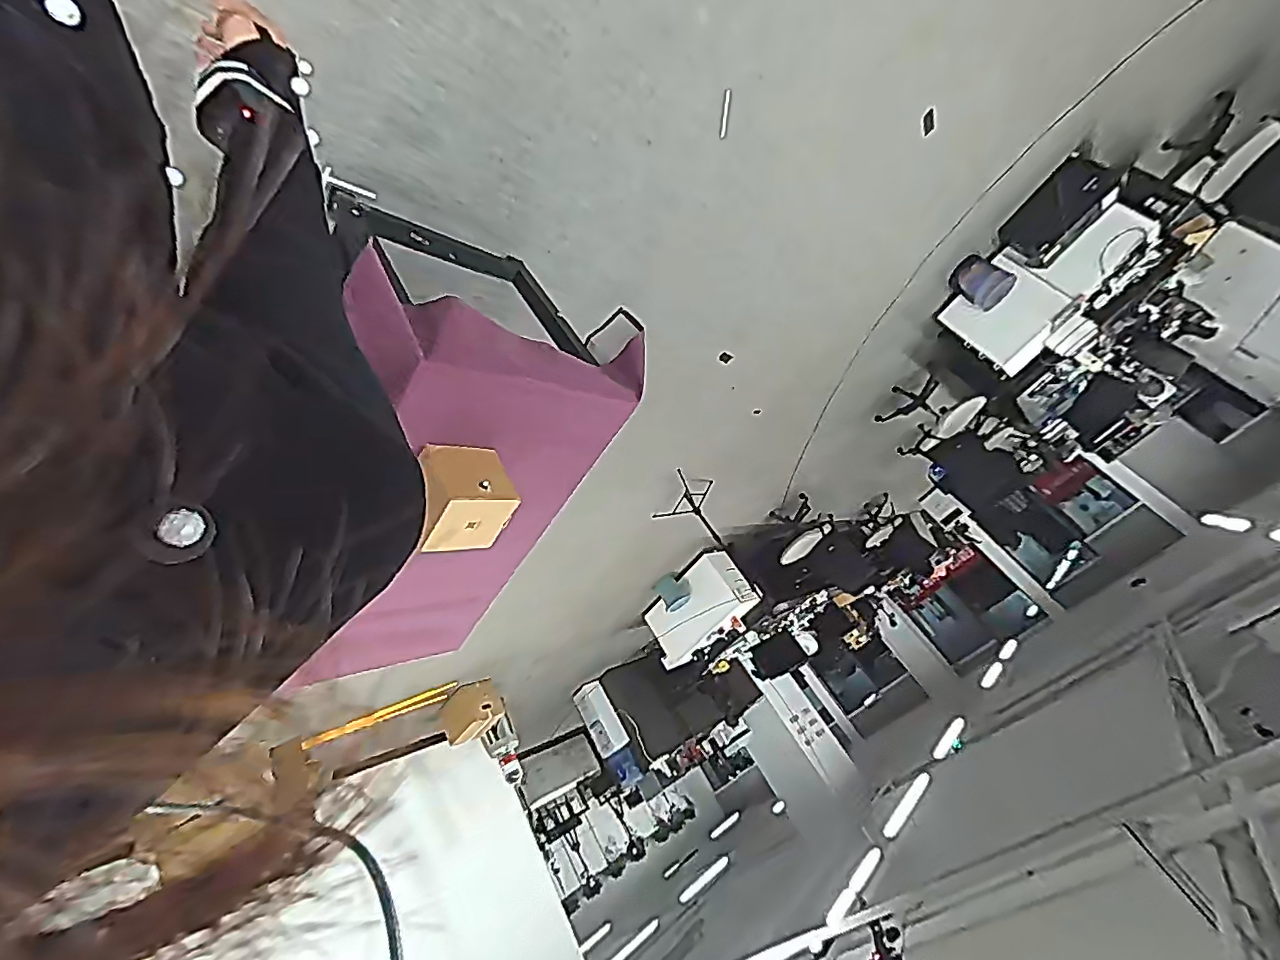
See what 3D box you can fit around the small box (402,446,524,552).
[{"bbox_3d":[-0.397,0.040,1.202,0.179,0.176,0.168,3,134,-49],"label":"small box"}]
